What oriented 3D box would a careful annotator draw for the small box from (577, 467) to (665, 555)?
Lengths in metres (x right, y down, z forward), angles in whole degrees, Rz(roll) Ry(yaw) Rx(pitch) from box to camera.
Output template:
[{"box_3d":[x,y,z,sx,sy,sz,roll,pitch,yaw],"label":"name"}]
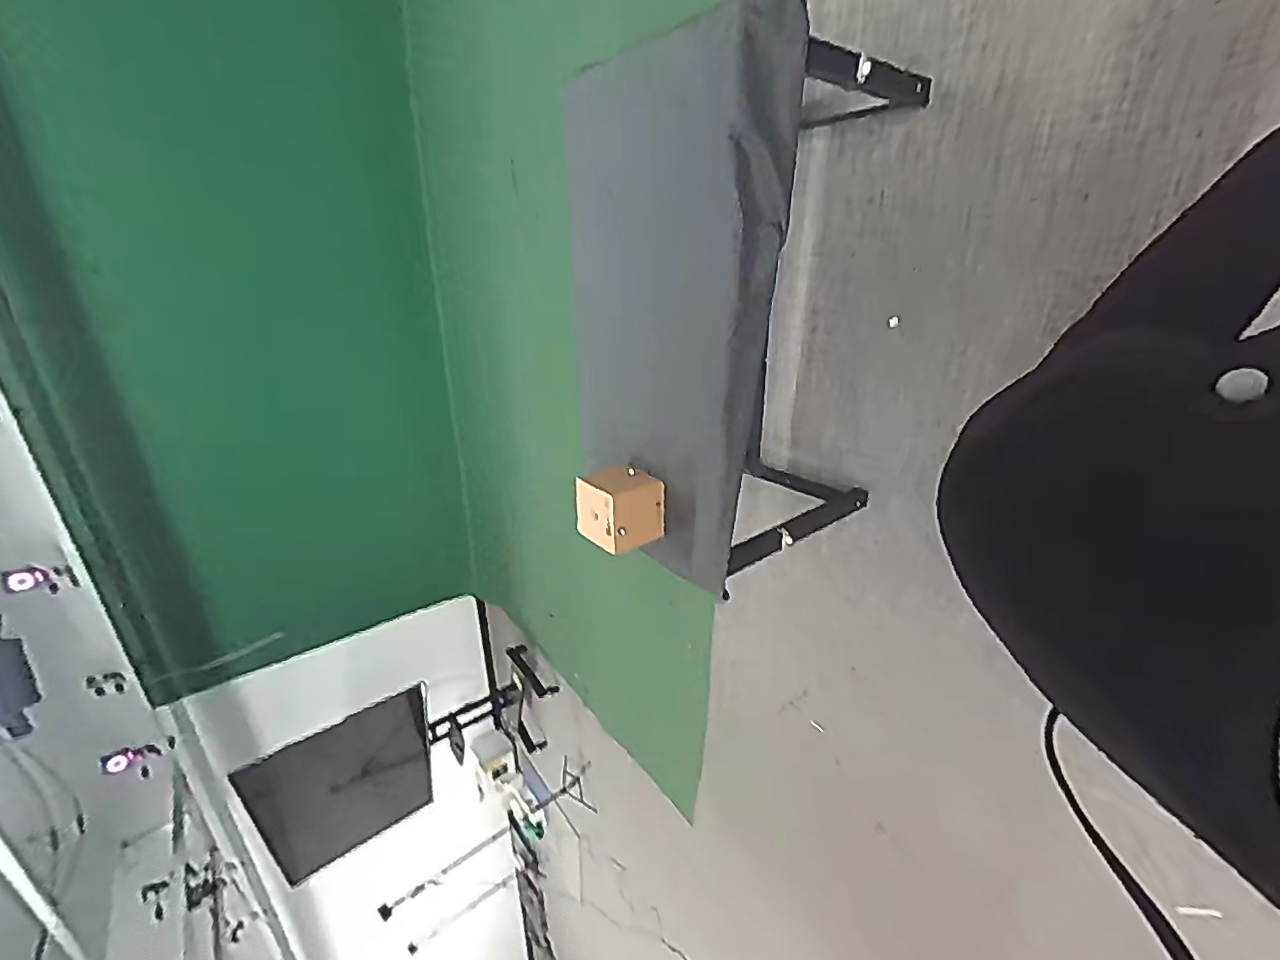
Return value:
[{"box_3d":[-0.051,0.075,1.461,0.179,0.176,0.168,24,124,48],"label":"small box"}]
